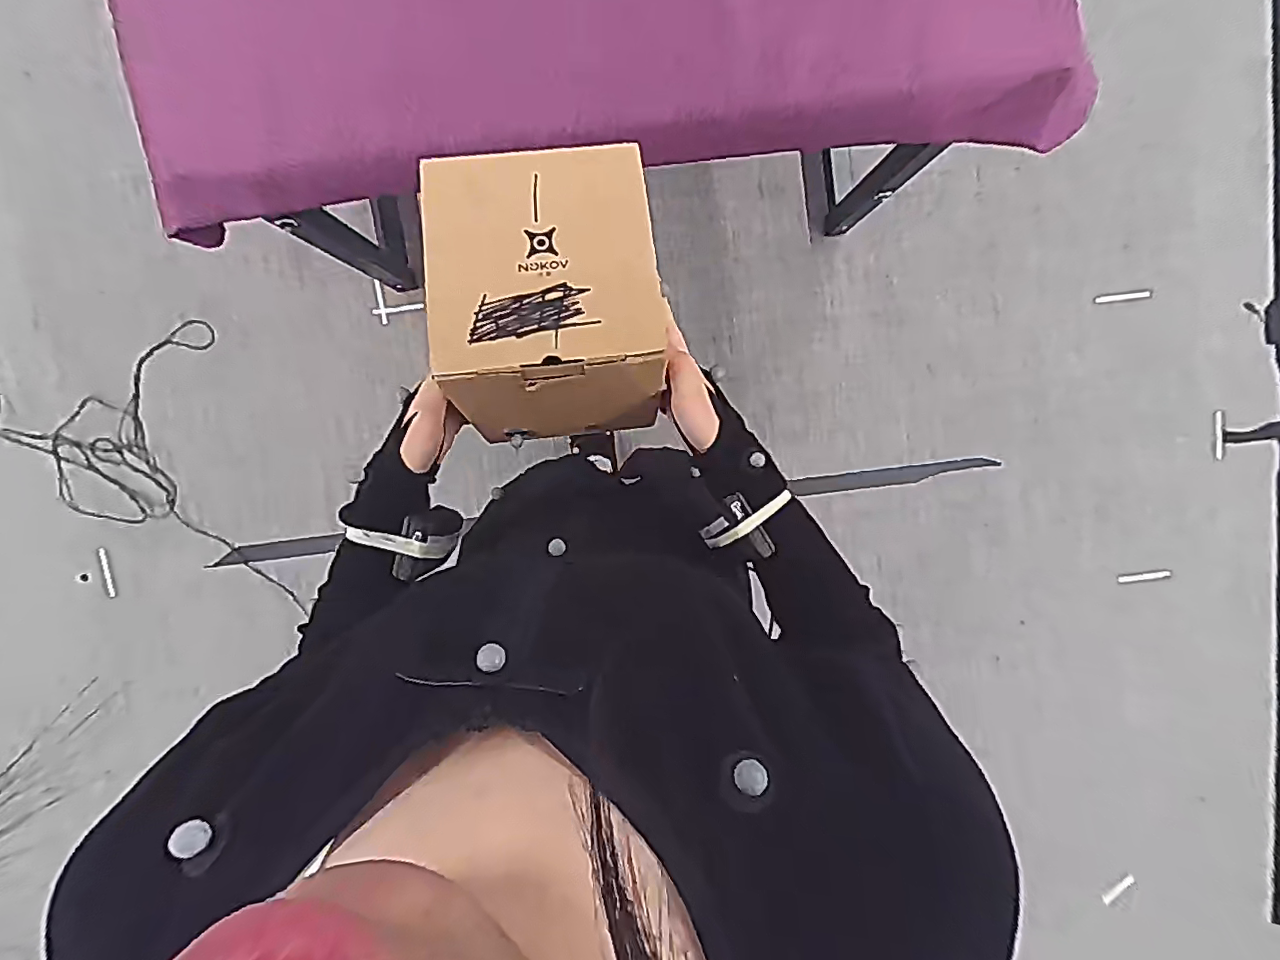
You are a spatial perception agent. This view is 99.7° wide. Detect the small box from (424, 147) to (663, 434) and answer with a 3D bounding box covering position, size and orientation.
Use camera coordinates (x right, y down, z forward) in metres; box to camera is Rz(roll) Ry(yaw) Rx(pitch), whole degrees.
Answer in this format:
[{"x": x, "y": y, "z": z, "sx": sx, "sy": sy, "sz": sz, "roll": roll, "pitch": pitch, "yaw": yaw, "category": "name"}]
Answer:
[{"x": -0.074, "y": -0.145, "z": 0.468, "sx": 0.168, "sy": 0.176, "sz": 0.179, "roll": -6, "pitch": 77, "yaw": -3, "category": "small box"}]
